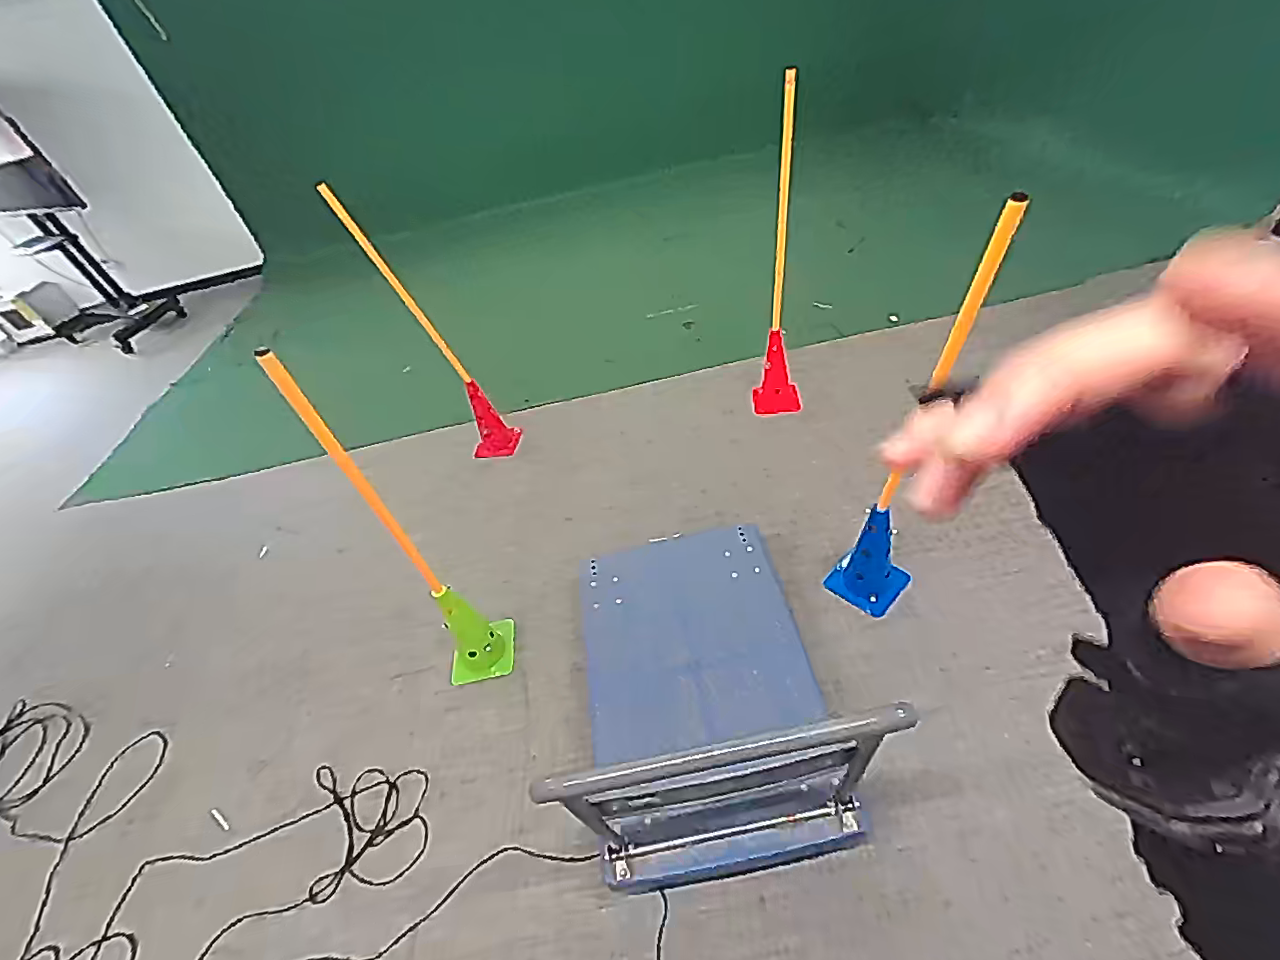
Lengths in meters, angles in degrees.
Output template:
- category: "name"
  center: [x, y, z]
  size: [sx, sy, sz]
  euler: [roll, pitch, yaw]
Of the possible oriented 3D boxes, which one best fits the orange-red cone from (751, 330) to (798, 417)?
- category: "orange-red cone"
  center: [0.565, -0.468, 2.292]
  size: [0.198, 0.360, 0.199]
  euler: [-5, 45, 10]
